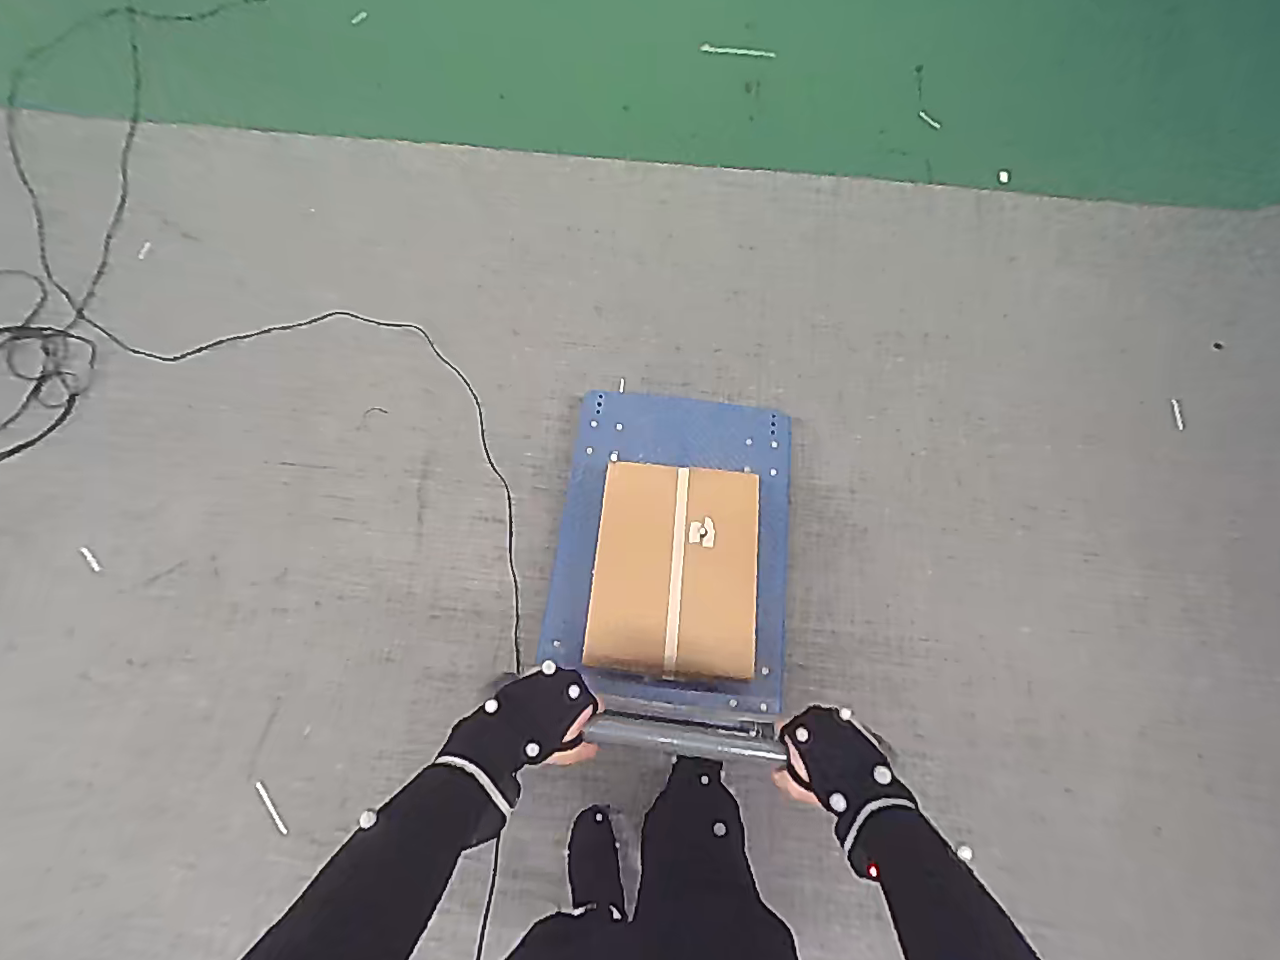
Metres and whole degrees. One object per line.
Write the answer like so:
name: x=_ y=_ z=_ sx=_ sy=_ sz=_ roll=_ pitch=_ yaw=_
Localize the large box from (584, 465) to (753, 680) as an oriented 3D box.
large box: x=0.064 y=0.218 z=1.187 sx=0.320 sy=0.320 sz=0.408 roll=5 pitch=70 yaw=1
